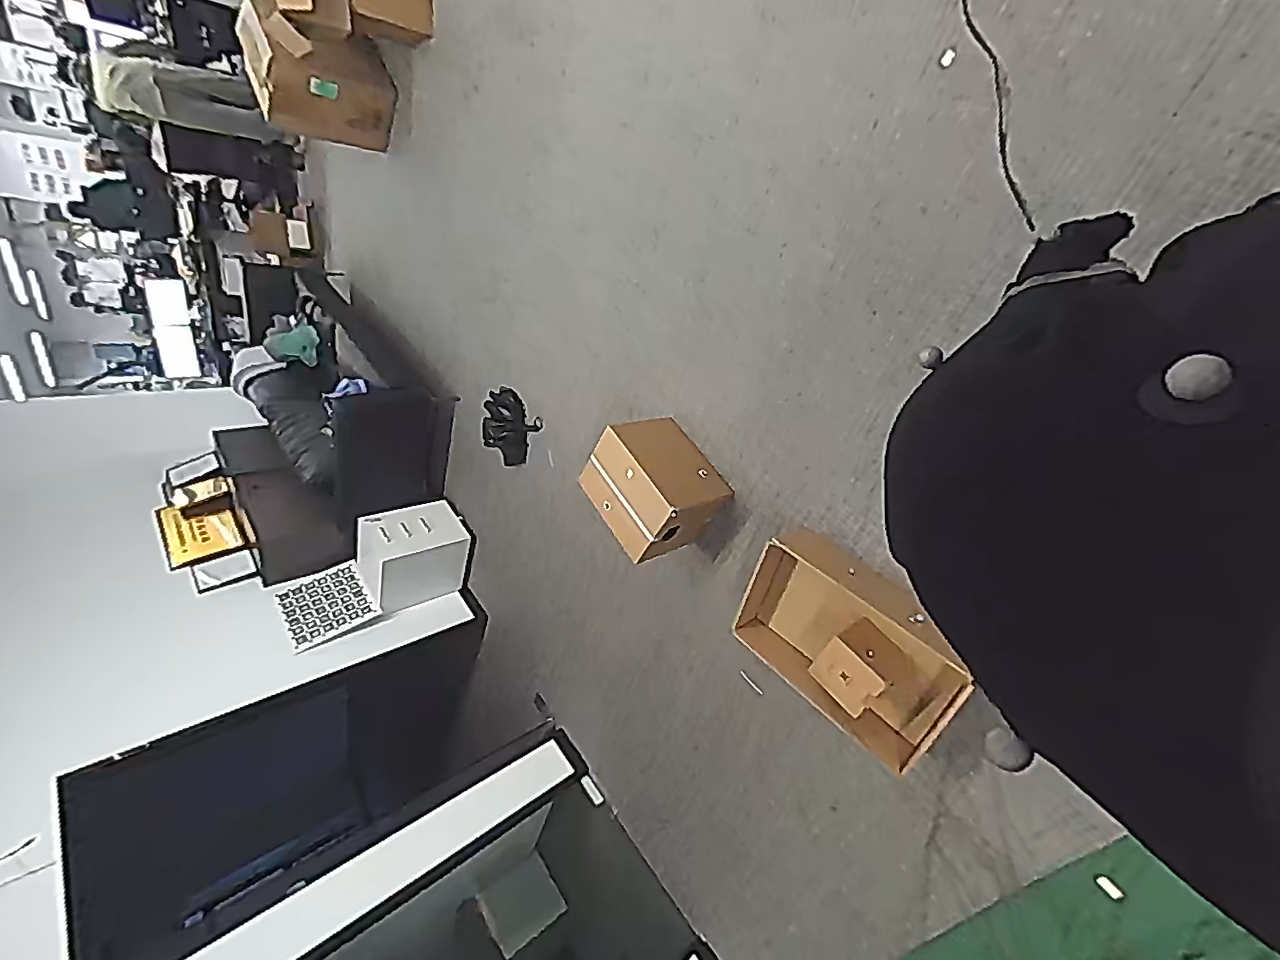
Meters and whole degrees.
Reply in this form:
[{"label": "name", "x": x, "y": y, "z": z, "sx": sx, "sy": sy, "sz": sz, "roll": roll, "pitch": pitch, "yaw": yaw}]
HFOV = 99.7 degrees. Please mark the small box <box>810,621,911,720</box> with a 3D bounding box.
[{"label": "small box", "x": 0.626, "y": 0.531, "z": 1.530, "sx": 0.179, "sy": 0.176, "sz": 0.168, "roll": 45, "pitch": 130, "yaw": 33}]
